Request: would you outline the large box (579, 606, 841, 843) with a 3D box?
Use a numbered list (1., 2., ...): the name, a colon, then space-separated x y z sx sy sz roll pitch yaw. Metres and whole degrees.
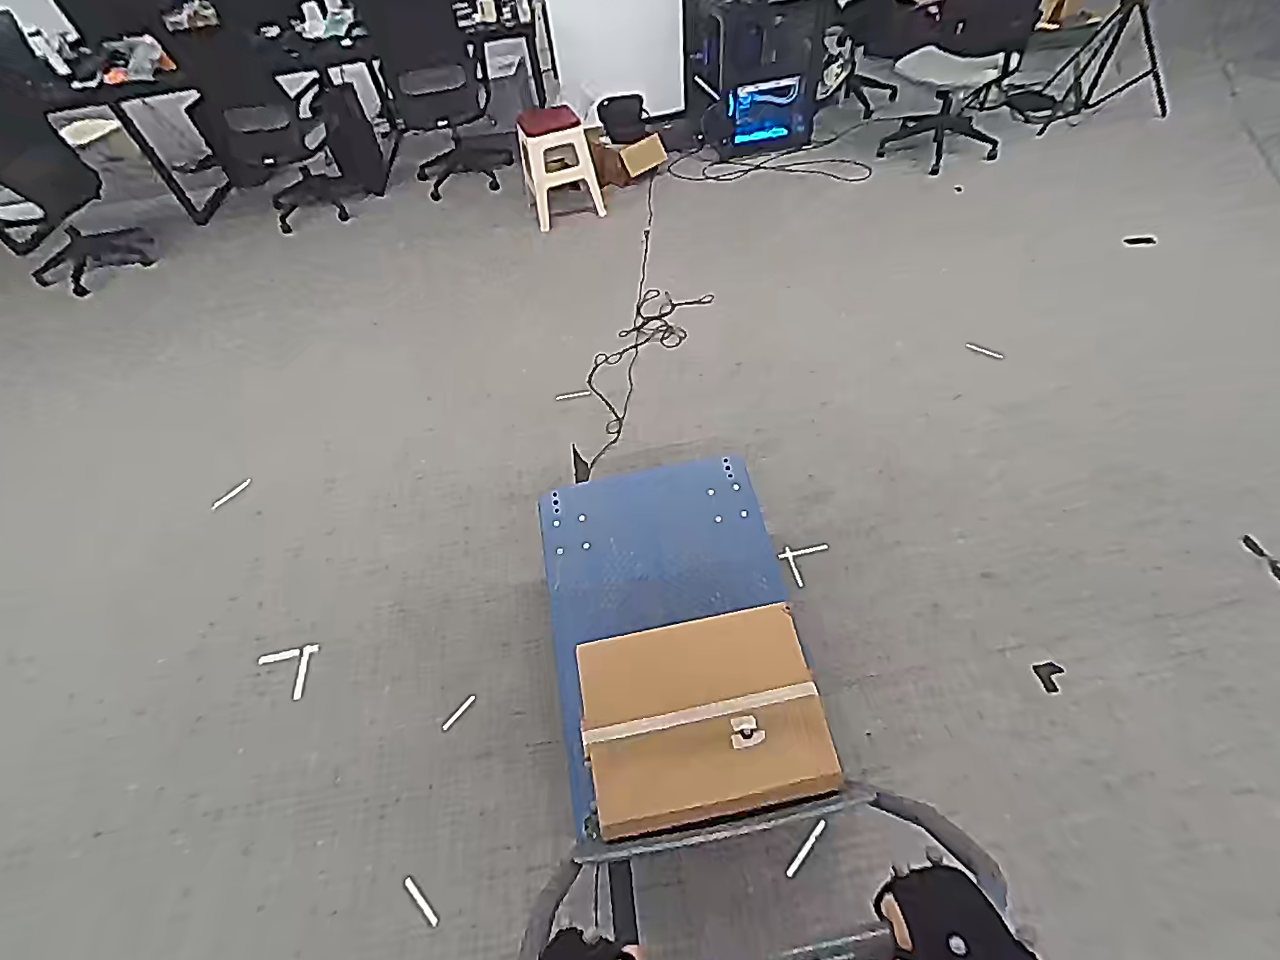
1. large box: 0.117 0.482 1.081 0.408 0.320 0.320 -12 63 -3
